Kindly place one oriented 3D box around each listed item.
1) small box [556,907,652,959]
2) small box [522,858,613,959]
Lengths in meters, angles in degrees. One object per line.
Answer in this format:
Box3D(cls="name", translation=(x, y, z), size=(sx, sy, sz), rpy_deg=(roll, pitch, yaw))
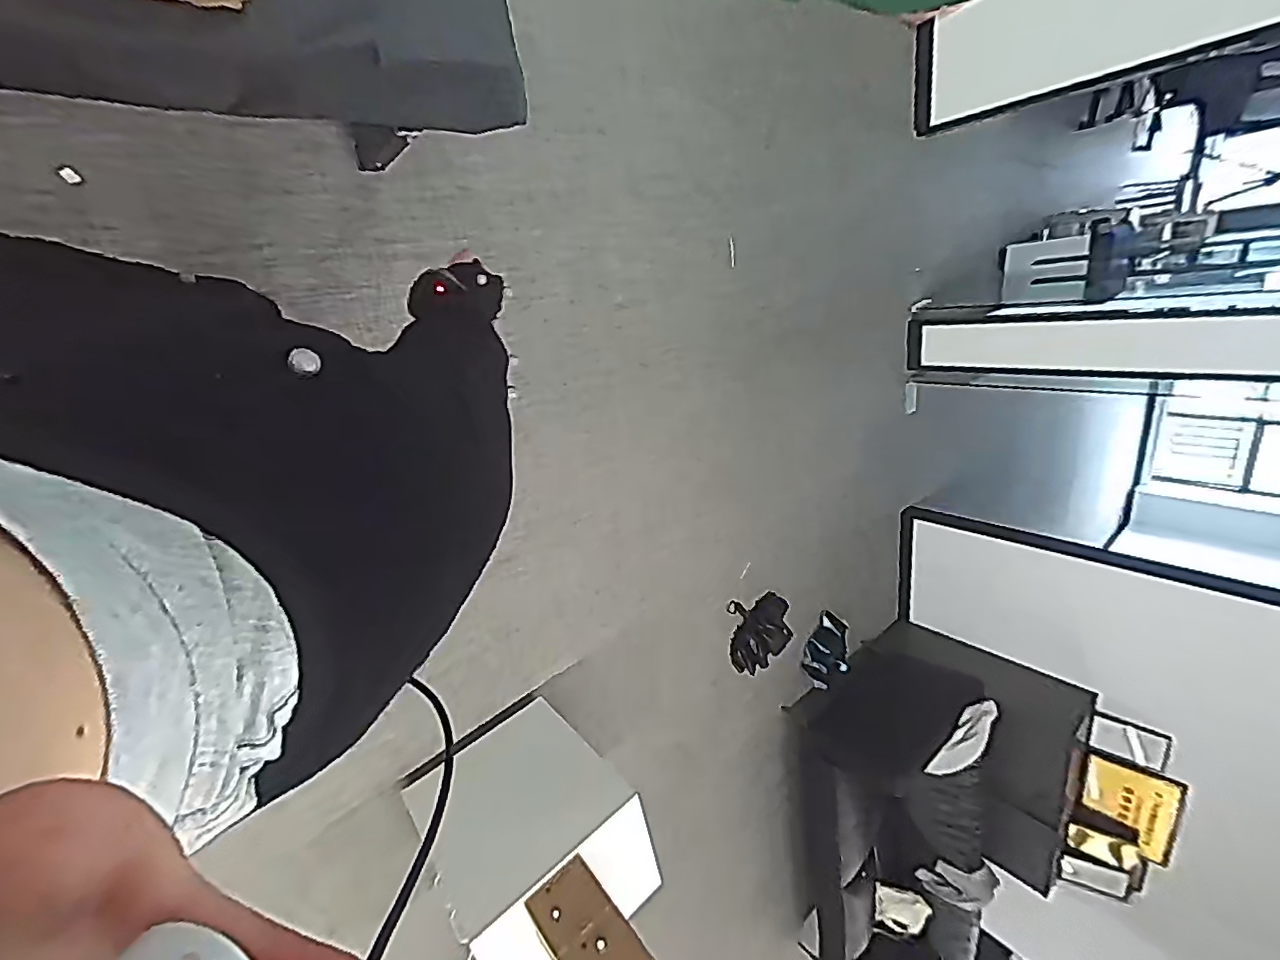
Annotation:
Box3D(cls="small box", translation=(-0.065, 1.114, 1.200), size=(0.168, 0.176, 0.179), rpy_deg=(-26, 116, -32))
Box3D(cls="small box", translation=(-0.167, 1.078, 1.324), size=(0.168, 0.176, 0.179), rpy_deg=(-27, 119, -31))
